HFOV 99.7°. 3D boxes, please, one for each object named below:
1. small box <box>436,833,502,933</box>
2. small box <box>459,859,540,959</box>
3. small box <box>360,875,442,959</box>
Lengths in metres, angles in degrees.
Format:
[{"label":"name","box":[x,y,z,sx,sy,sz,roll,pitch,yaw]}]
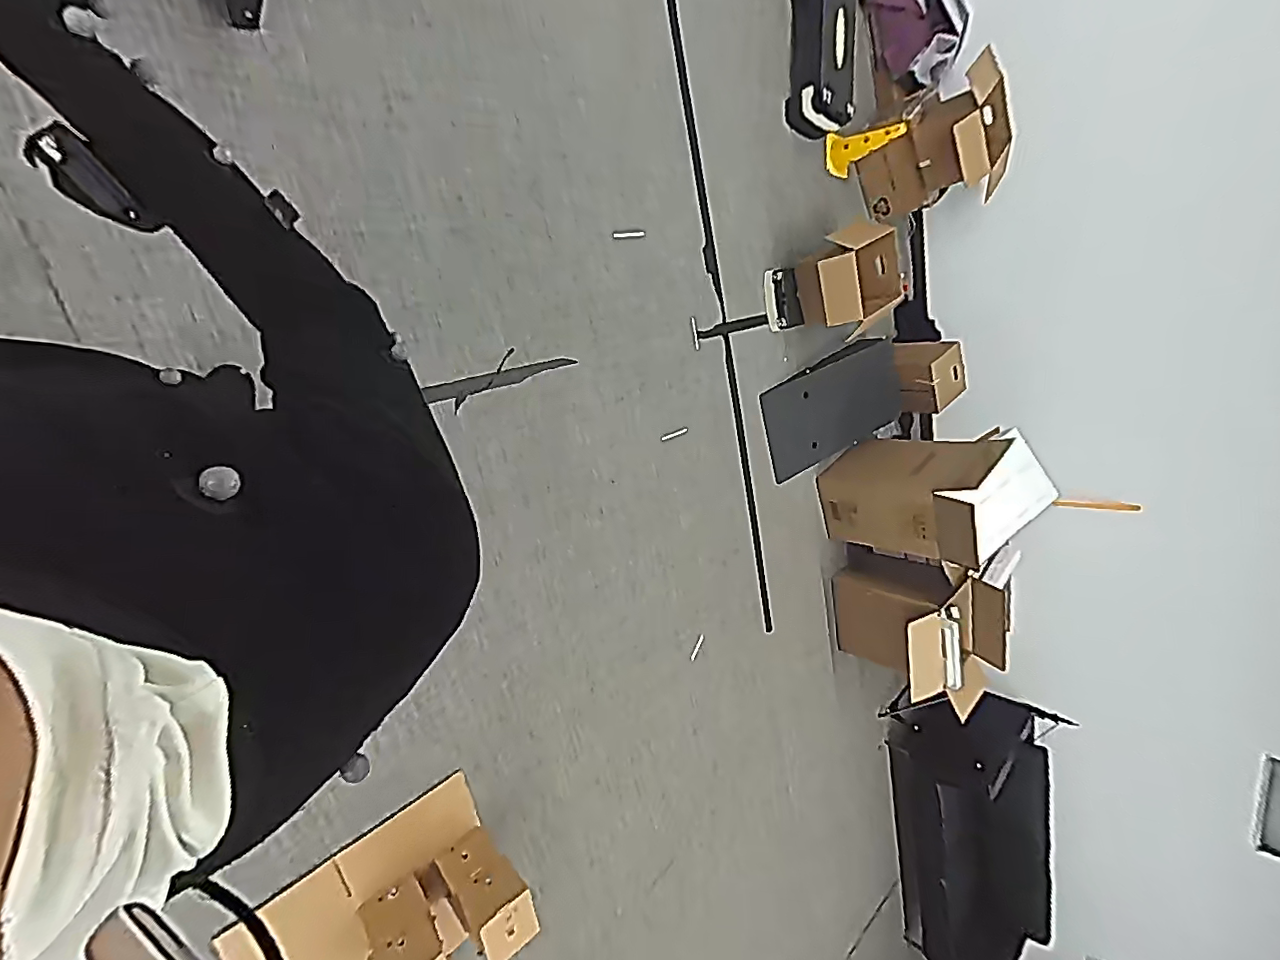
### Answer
[{"label":"small box","box":[-0.547,1.301,1.769,0.168,0.176,0.179,-21,108,-37]},{"label":"small box","box":[-0.431,1.321,1.652,0.168,0.176,0.179,-20,108,-38]},{"label":"small box","box":[-0.721,1.356,1.629,0.168,0.176,0.179,-20,108,-37]}]
